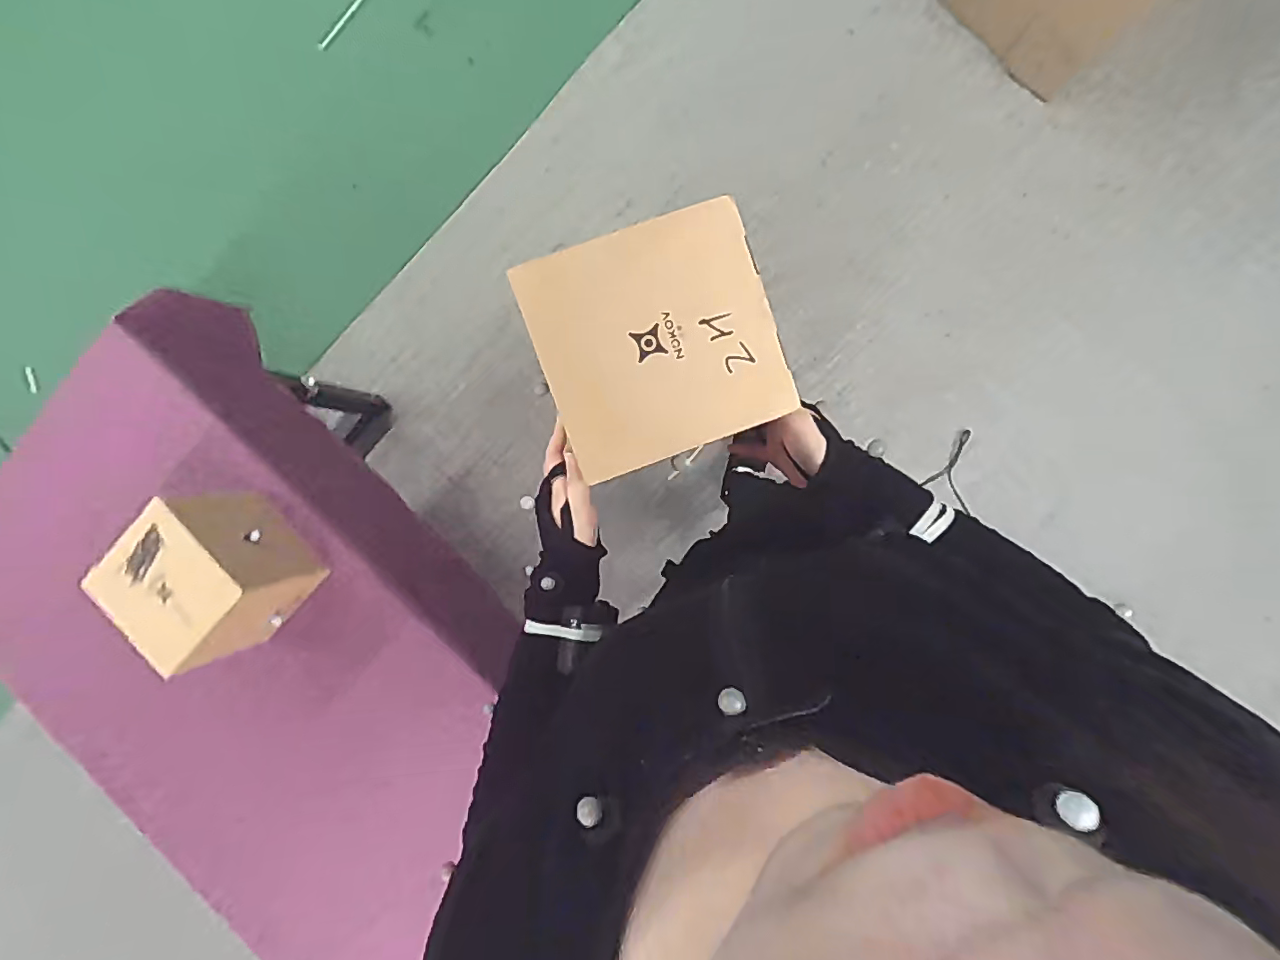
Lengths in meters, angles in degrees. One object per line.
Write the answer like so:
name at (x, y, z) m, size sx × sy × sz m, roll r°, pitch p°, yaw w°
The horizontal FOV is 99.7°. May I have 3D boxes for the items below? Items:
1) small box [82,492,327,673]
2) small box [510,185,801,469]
small box at (-0.604, 0.132, 0.771) m, size 0.179 × 0.176 × 0.168 m, roll 45°, pitch 96°, yaw 3°
small box at (0.008, -0.114, 0.469) m, size 0.179 × 0.176 × 0.168 m, roll -19°, pitch 97°, yaw -4°
